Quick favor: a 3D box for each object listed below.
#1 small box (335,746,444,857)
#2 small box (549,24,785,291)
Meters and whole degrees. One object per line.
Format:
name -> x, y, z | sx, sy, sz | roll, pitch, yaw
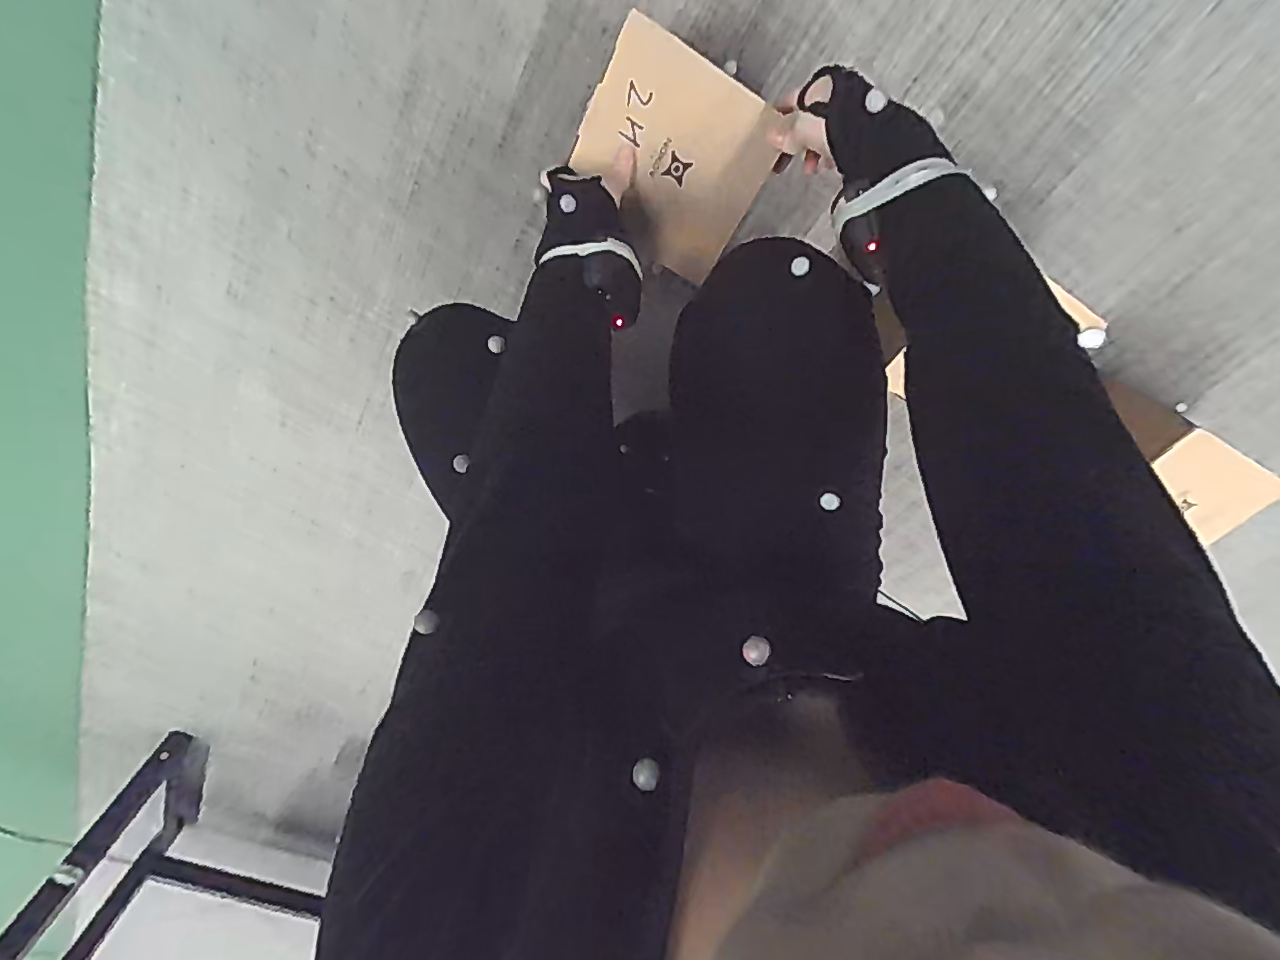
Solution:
small box -> -0.623, 0.805, 1.361 | 0.179, 0.176, 0.168 | 27, 120, -12
small box -> 0.026, -0.340, 0.588 | 0.179, 0.176, 0.168 | 28, 118, -14
